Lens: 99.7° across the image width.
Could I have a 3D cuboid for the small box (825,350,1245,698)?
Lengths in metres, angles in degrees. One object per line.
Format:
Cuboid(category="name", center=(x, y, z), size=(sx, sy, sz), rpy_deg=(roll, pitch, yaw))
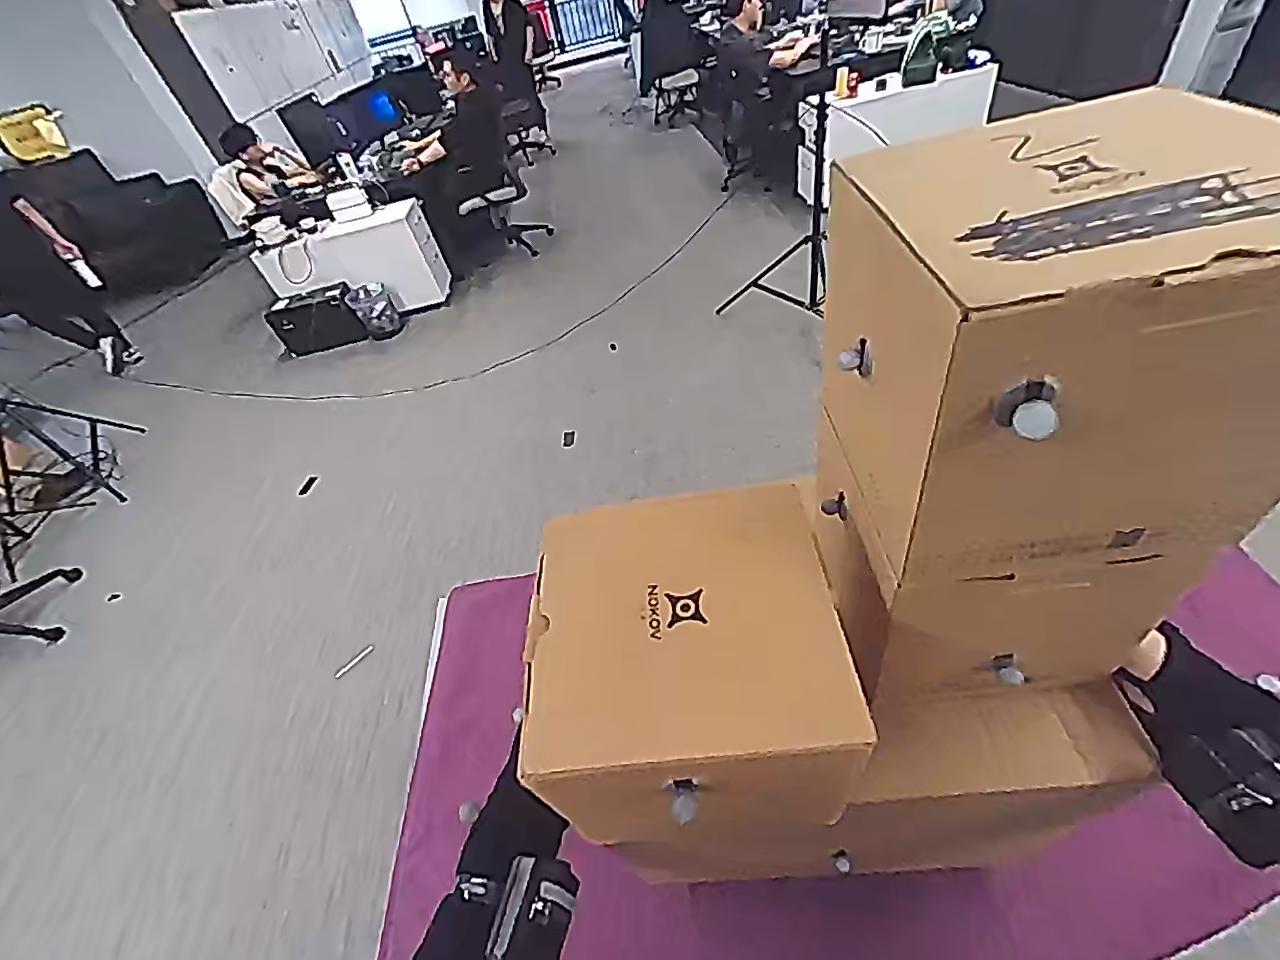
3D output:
Cuboid(category="small box", center=(0.239, 0.034, 0.395), size=(0.168, 0.176, 0.179), rpy_deg=(-9, 45, 8))
